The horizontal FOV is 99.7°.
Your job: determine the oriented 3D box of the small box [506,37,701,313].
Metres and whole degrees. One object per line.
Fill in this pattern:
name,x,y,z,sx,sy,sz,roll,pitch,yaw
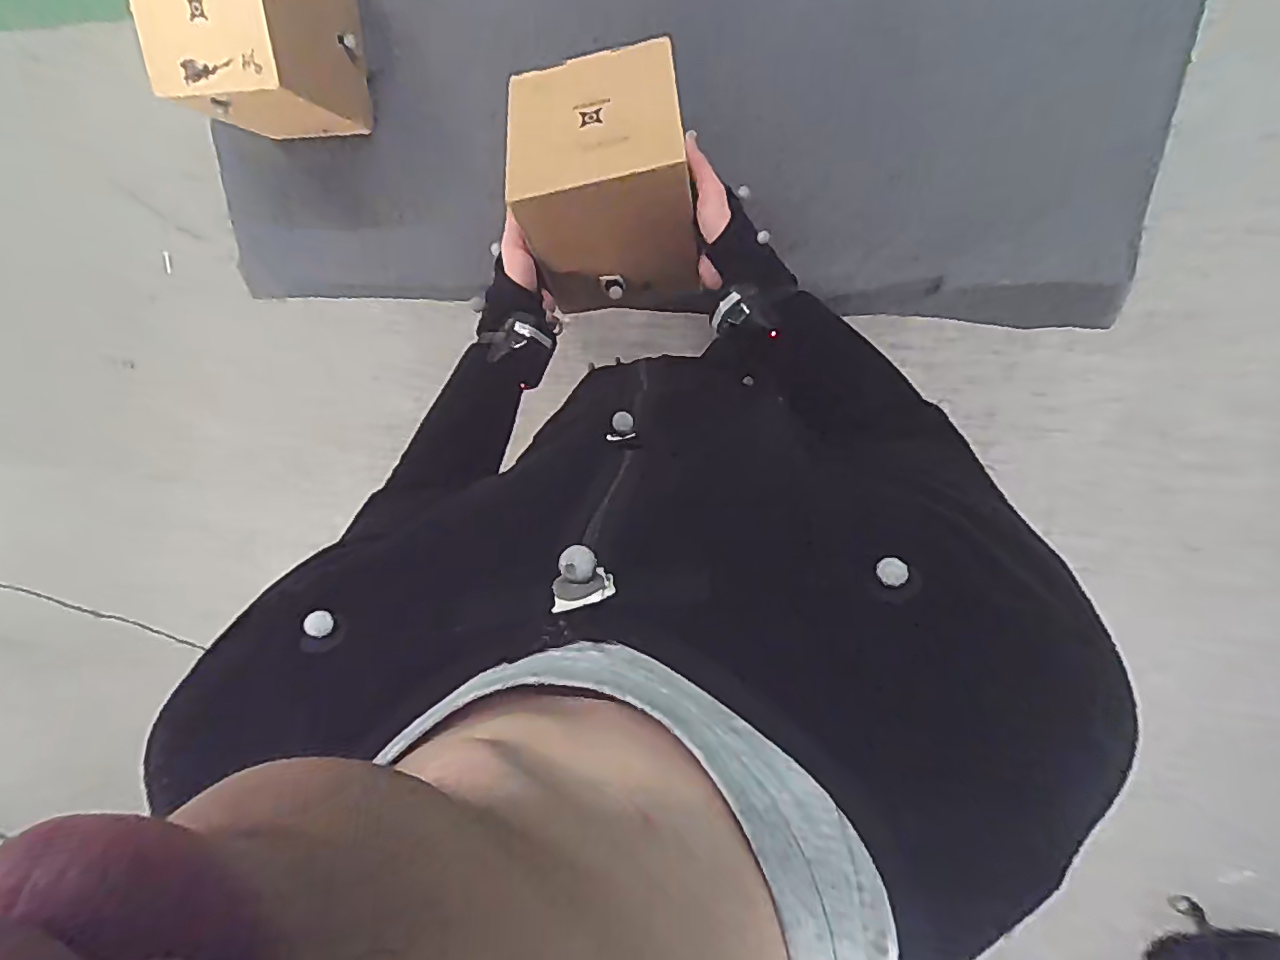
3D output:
small box,-0.030,-0.308,0.572,0.168,0.176,0.179,-8,69,9

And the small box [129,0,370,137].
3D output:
small box,-0.456,-0.537,0.646,0.168,0.176,0.179,3,109,10
